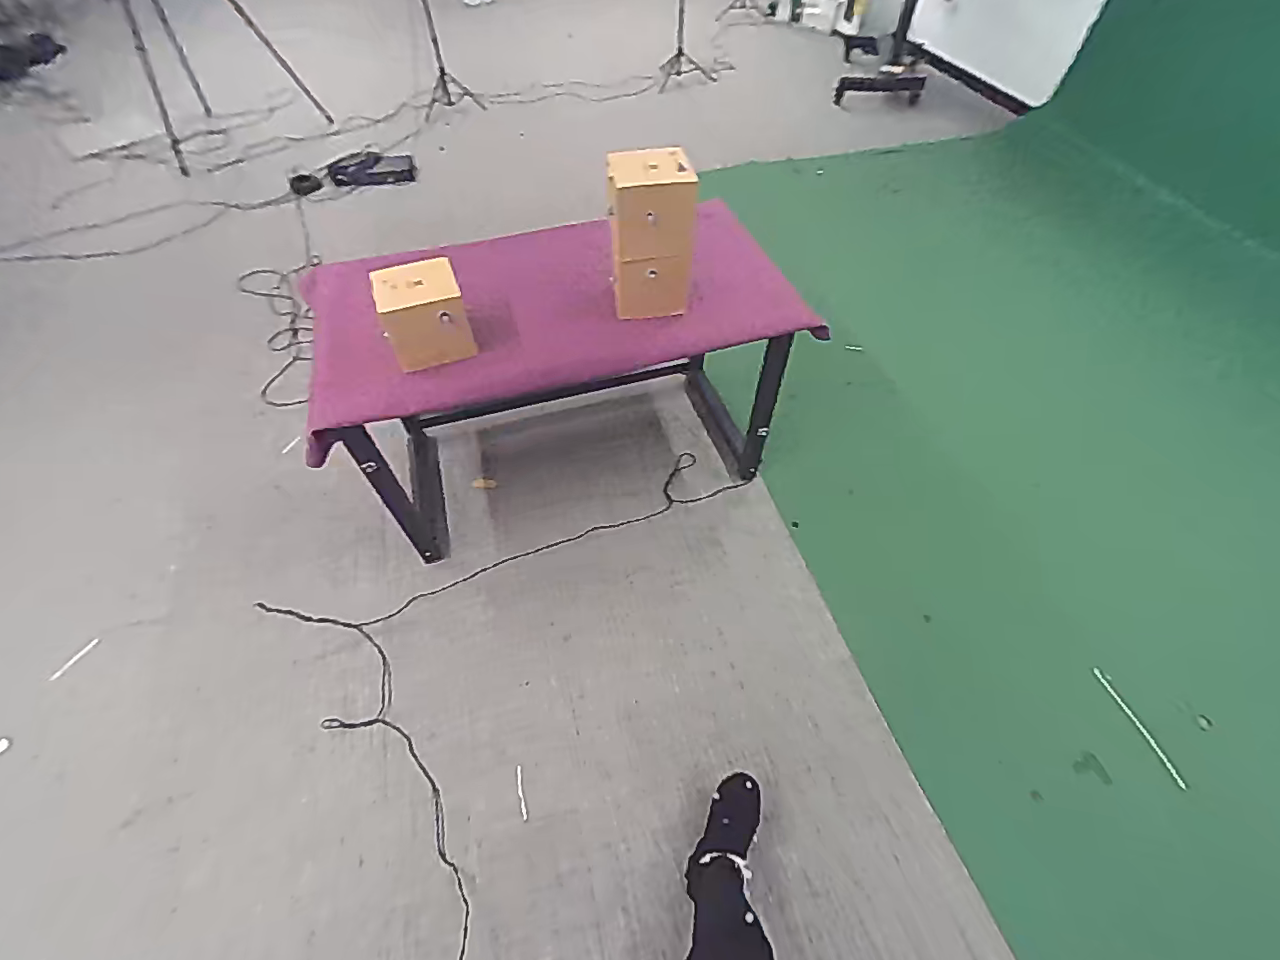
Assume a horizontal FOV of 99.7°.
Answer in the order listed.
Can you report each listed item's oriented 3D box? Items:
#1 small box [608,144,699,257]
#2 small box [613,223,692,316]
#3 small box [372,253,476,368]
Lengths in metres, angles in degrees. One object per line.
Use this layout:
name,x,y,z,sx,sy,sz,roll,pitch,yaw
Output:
small box,0.029,-0.623,1.214,0.179,0.176,0.168,-8,55,-5
small box,0.029,-0.527,1.347,0.179,0.176,0.168,-5,54,-4
small box,-0.488,-0.387,1.242,0.179,0.176,0.168,-18,56,-12
